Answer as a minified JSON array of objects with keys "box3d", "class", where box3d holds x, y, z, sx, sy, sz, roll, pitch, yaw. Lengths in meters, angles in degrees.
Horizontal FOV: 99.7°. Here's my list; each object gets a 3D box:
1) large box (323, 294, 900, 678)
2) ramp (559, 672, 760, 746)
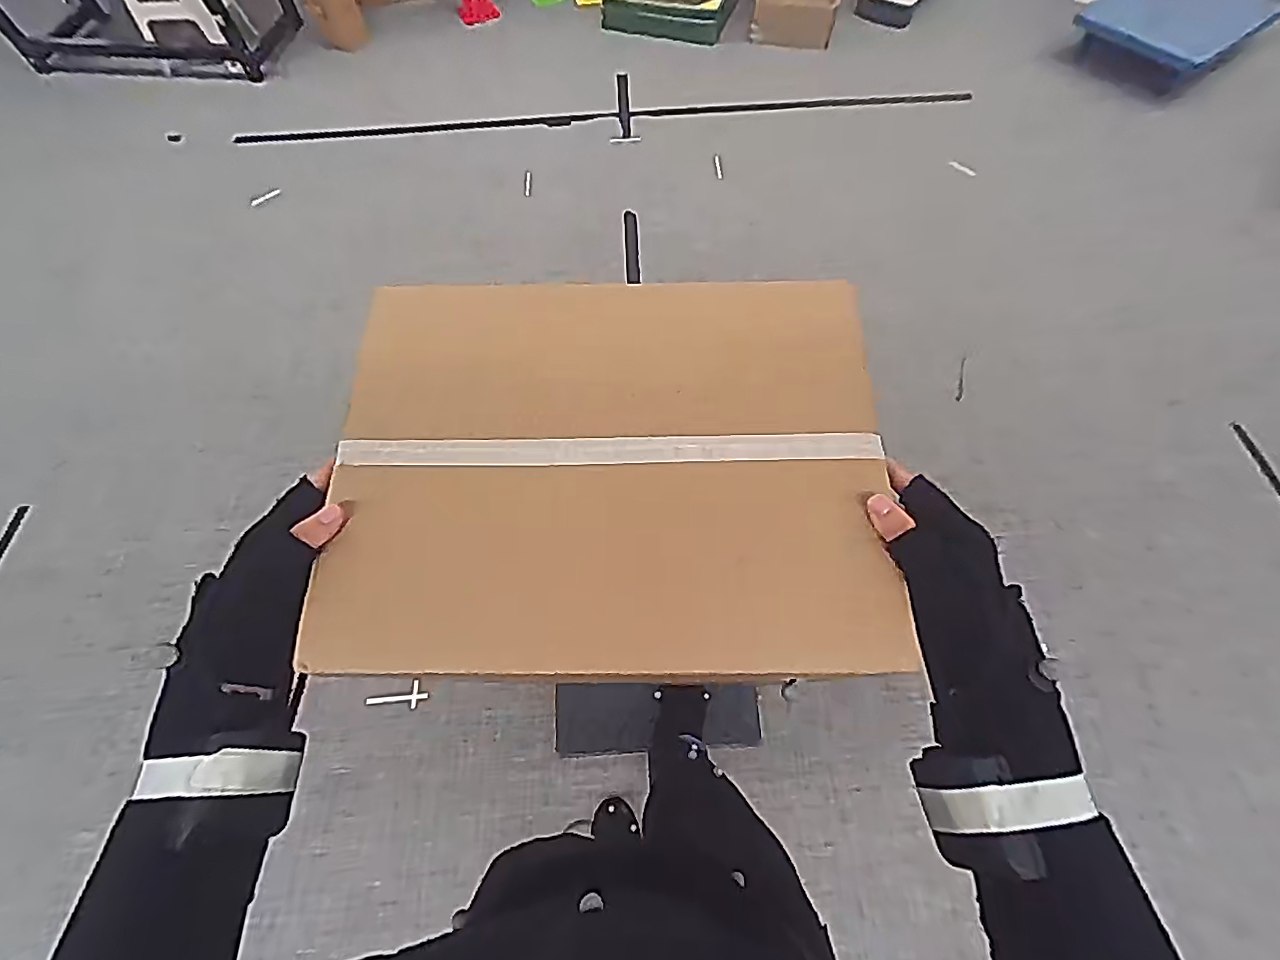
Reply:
[{"box3d":[-0.018,0.038,0.558,0.408,0.320,0.320,-1,68,1],"class":"large box"},{"box3d":[0.021,0.150,1.445,0.509,0.206,0.991,-4,63,-2],"class":"ramp"}]
